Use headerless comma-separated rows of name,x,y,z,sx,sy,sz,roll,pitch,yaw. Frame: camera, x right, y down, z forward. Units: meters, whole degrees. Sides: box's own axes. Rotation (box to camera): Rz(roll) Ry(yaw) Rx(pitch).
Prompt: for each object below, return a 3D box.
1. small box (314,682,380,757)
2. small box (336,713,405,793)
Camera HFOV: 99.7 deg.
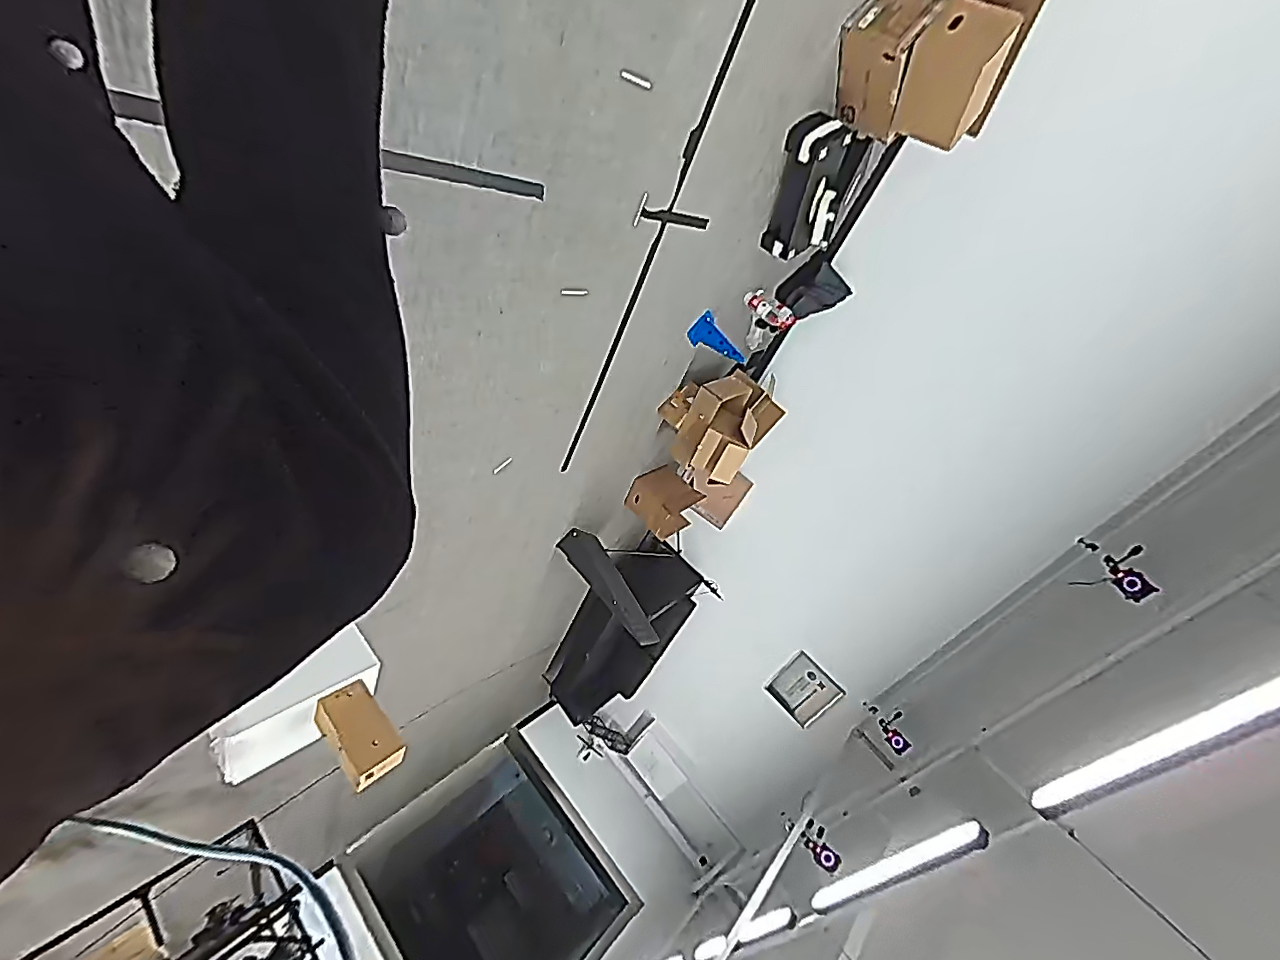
small box,-1.127,0.912,2.075,0.168,0.176,0.179,-21,148,-50
small box,-1.012,1.017,2.022,0.179,0.176,0.168,-26,152,-47
